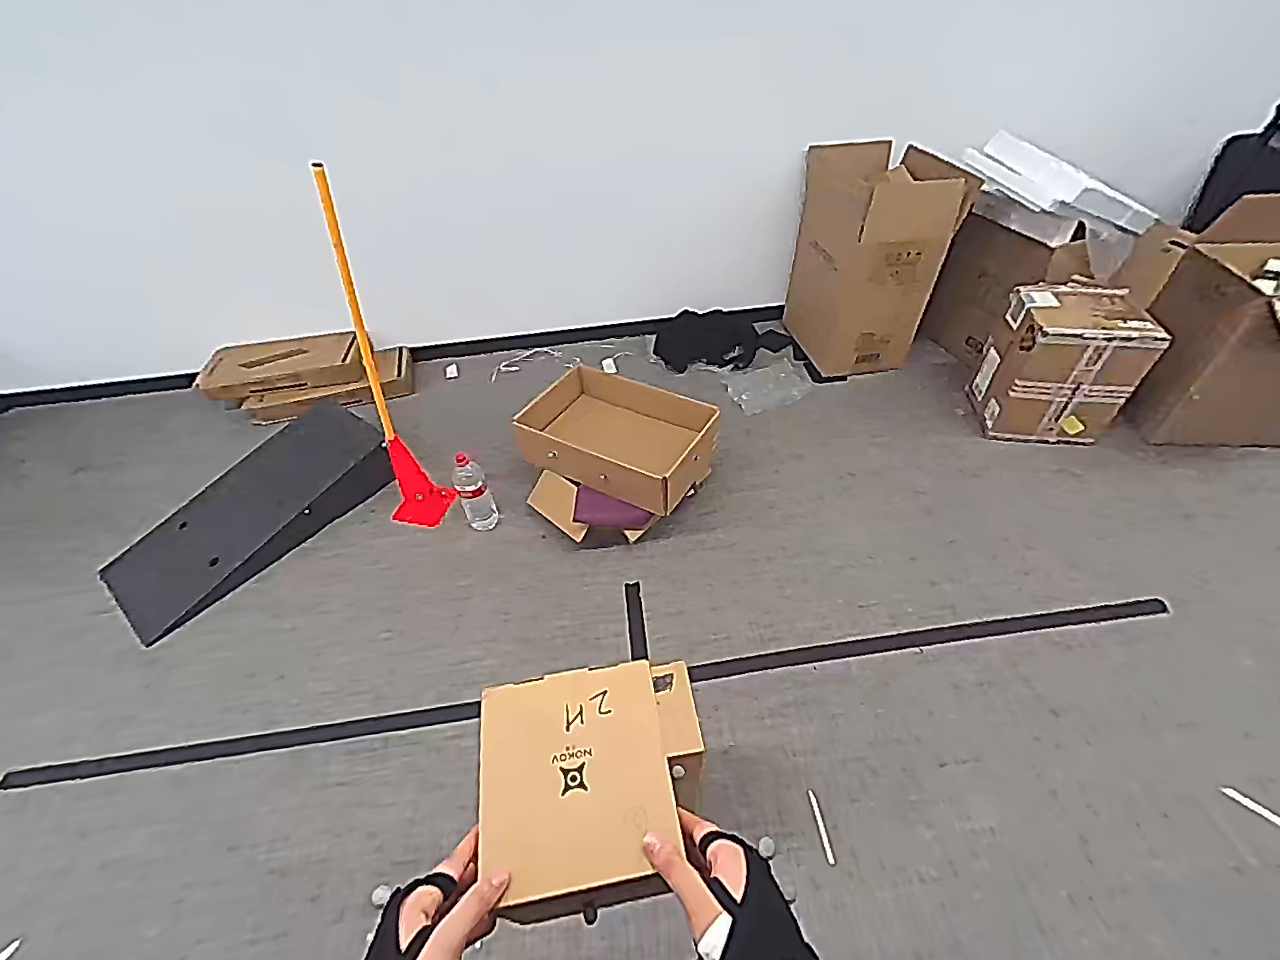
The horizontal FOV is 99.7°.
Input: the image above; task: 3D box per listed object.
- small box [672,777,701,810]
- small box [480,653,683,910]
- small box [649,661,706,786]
[{"bbox_3d":[0.033,0.605,1.182,0.168,0.176,0.179,-8,43,-4],"label":"small box"},{"bbox_3d":[-0.053,0.302,0.536,0.168,0.176,0.179,-10,47,-5],"label":"small box"},{"bbox_3d":[0.029,0.486,1.067,0.168,0.176,0.179,-8,45,-4],"label":"small box"}]
